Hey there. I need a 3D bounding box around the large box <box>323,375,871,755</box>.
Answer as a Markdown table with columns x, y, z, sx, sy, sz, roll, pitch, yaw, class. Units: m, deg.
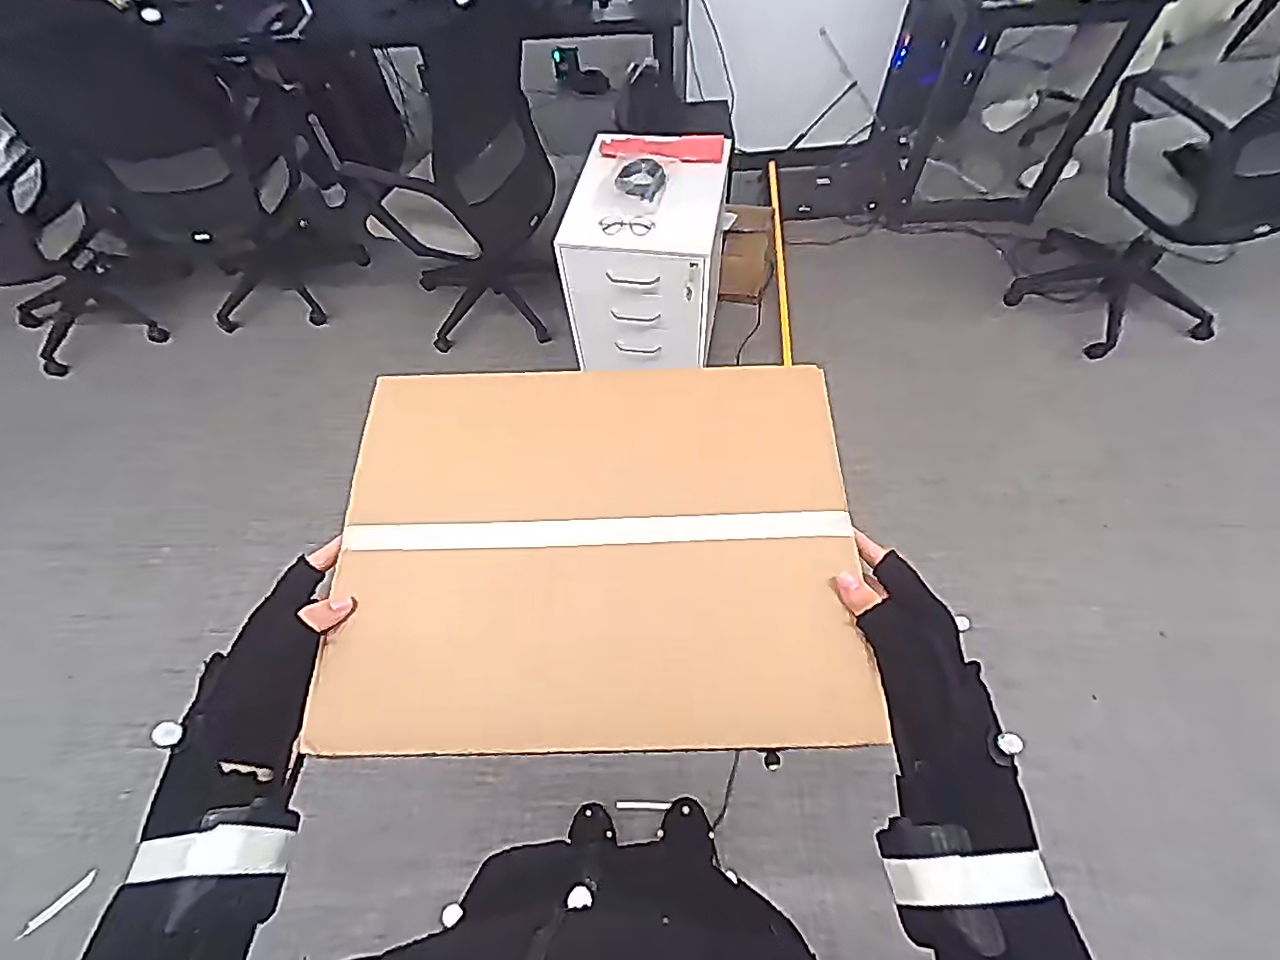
| x | y | z | sx | sy | sz | roll | pitch | yaw | class |
| --- | --- | --- | --- | --- | --- | --- | --- | --- | --- |
| -0.030 | 0.108 | 0.582 | 0.408 | 0.320 | 0.320 | -1 | 65 | 1 | large box |
